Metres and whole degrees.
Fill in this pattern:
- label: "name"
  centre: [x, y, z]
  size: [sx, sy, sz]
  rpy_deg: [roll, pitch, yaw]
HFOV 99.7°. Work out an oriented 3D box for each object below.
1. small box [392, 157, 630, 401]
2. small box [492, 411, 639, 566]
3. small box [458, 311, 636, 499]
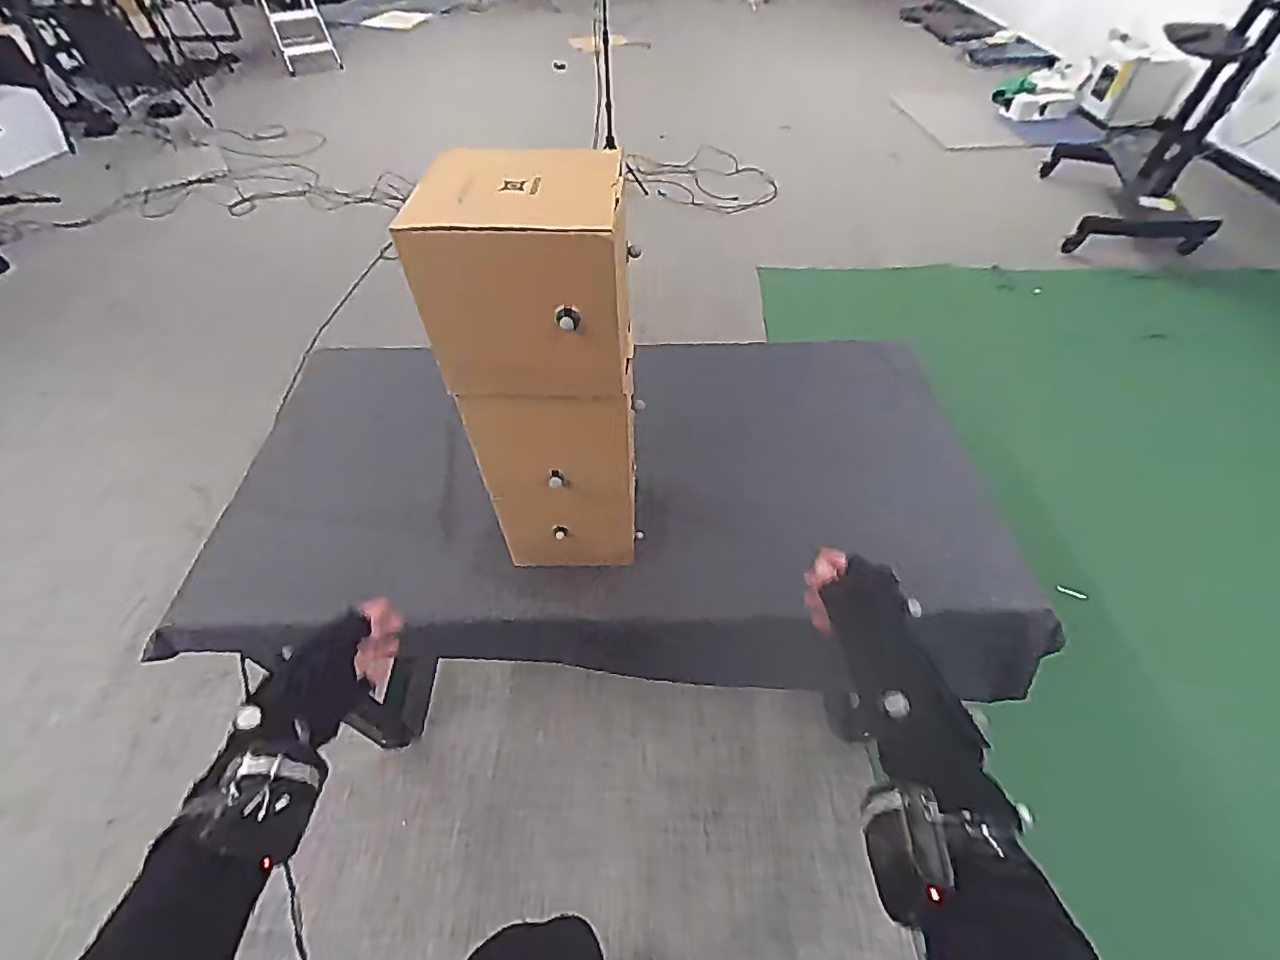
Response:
- label: "small box"
  centre: [-0.101, -0.190, 0.526]
  size: [0.179, 0.176, 0.168]
  rpy_deg: [0, 49, 3]
- label: "small box"
  centre: [-0.093, 0.010, 0.780]
  size: [0.179, 0.176, 0.168]
  rpy_deg: [2, 48, 3]
- label: "small box"
  centre: [-0.095, -0.090, 0.655]
  size: [0.179, 0.176, 0.168]
  rpy_deg: [1, 50, 1]
